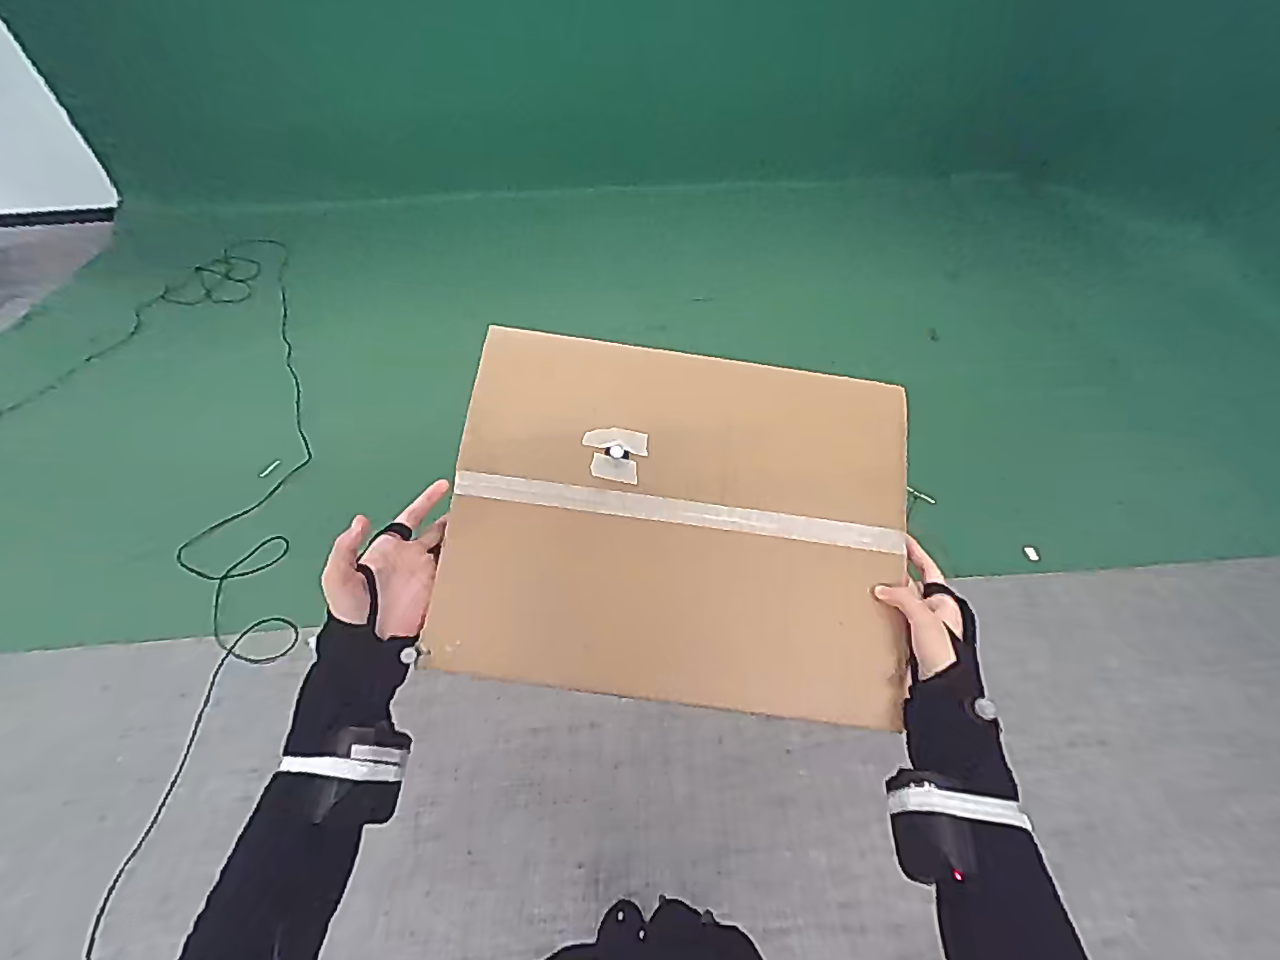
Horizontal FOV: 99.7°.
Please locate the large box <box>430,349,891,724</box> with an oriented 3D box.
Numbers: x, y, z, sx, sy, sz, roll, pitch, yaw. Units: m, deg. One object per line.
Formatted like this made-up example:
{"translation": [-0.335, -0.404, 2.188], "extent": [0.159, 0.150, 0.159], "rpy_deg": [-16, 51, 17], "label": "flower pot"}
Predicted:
{"translation": [0.030, 0.075, 0.641], "extent": [0.408, 0.320, 0.320], "rpy_deg": [8, 75, 0], "label": "large box"}
